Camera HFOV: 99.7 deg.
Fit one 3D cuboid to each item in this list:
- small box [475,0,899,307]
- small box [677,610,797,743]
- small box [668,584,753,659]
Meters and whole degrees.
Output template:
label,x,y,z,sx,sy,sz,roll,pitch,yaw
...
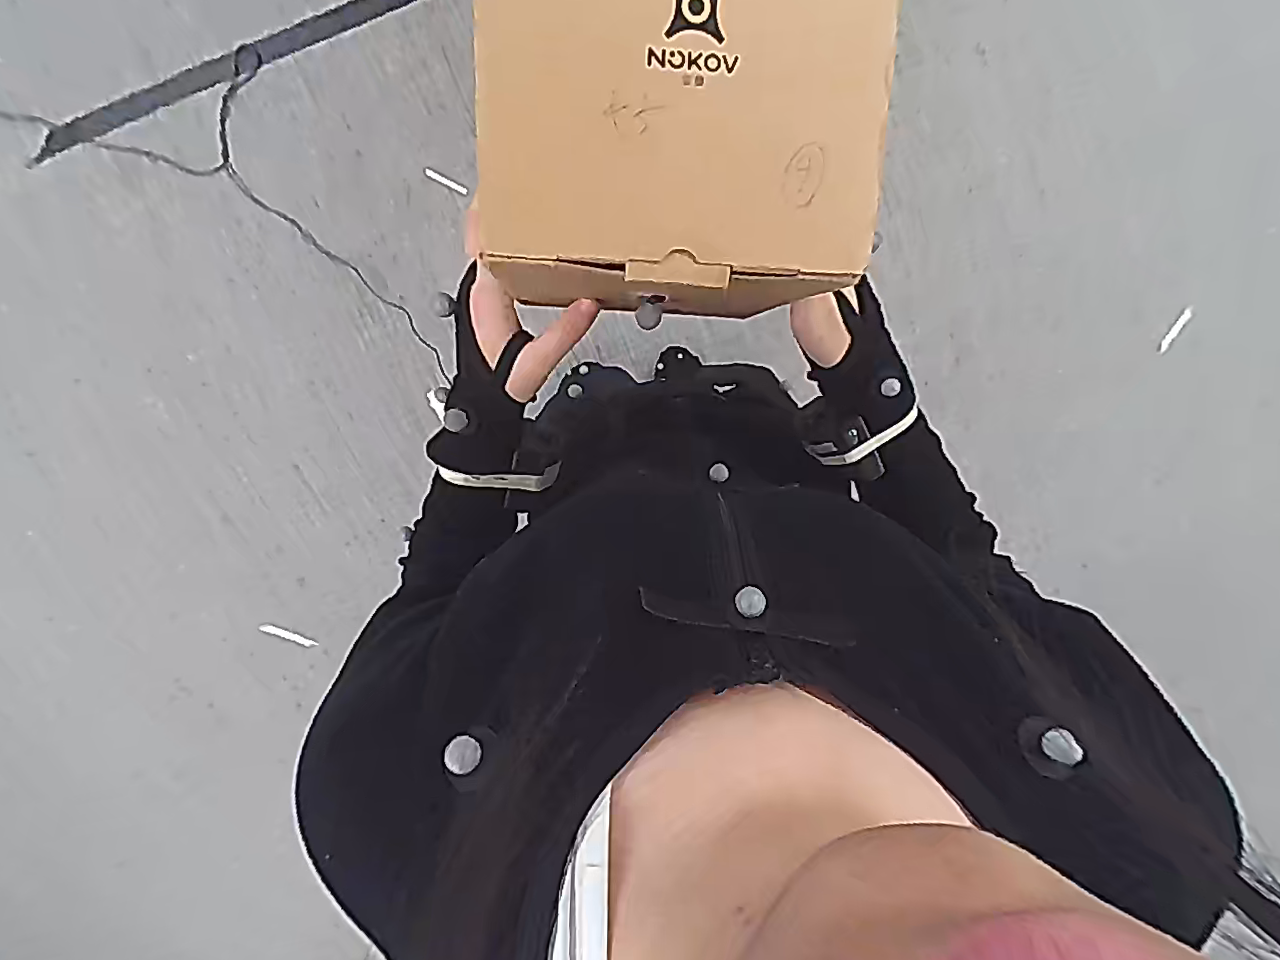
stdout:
label,x,y,z,sx,sy,sz,roll,pitch,yaw
small box,0.011,-0.191,0.286,0.168,0.176,0.179,1,102,-7
small box,0.179,0.379,1.029,0.168,0.176,0.179,-22,101,3
small box,0.172,0.353,1.189,0.179,0.176,0.168,-23,102,4
